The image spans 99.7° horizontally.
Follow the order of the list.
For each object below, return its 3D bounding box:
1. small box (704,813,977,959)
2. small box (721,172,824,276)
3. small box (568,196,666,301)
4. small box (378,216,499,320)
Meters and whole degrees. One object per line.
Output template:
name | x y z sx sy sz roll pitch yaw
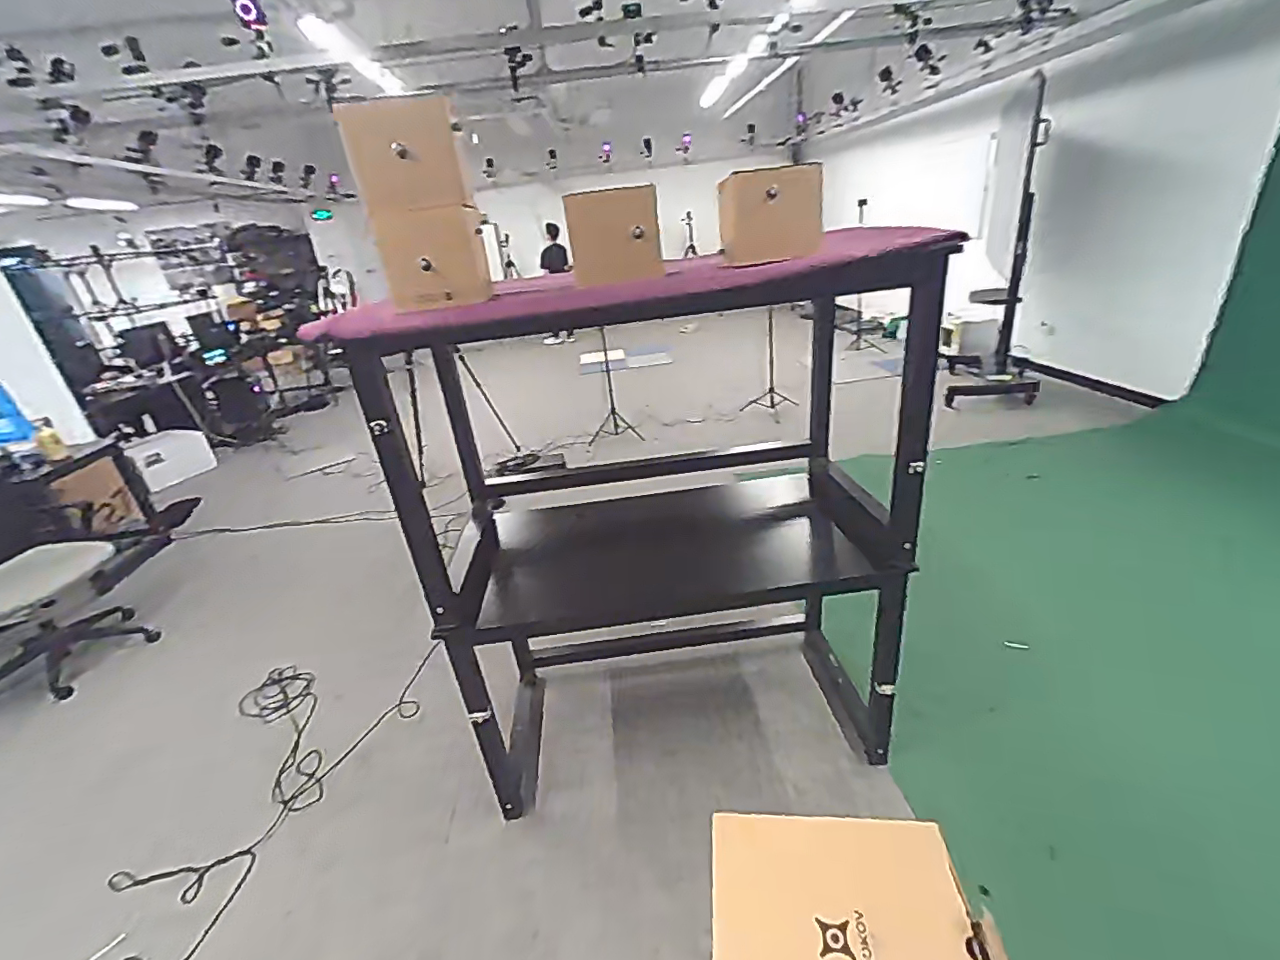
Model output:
small box | 0.142 0.380 0.399 0.179 0.176 0.168 -3 25 9
small box | 0.273 -0.524 1.127 0.179 0.176 0.168 -7 22 0
small box | -0.044 -0.468 1.096 0.179 0.176 0.168 -9 24 -2
small box | -0.380 -0.413 1.057 0.168 0.176 0.179 -7 24 -4
